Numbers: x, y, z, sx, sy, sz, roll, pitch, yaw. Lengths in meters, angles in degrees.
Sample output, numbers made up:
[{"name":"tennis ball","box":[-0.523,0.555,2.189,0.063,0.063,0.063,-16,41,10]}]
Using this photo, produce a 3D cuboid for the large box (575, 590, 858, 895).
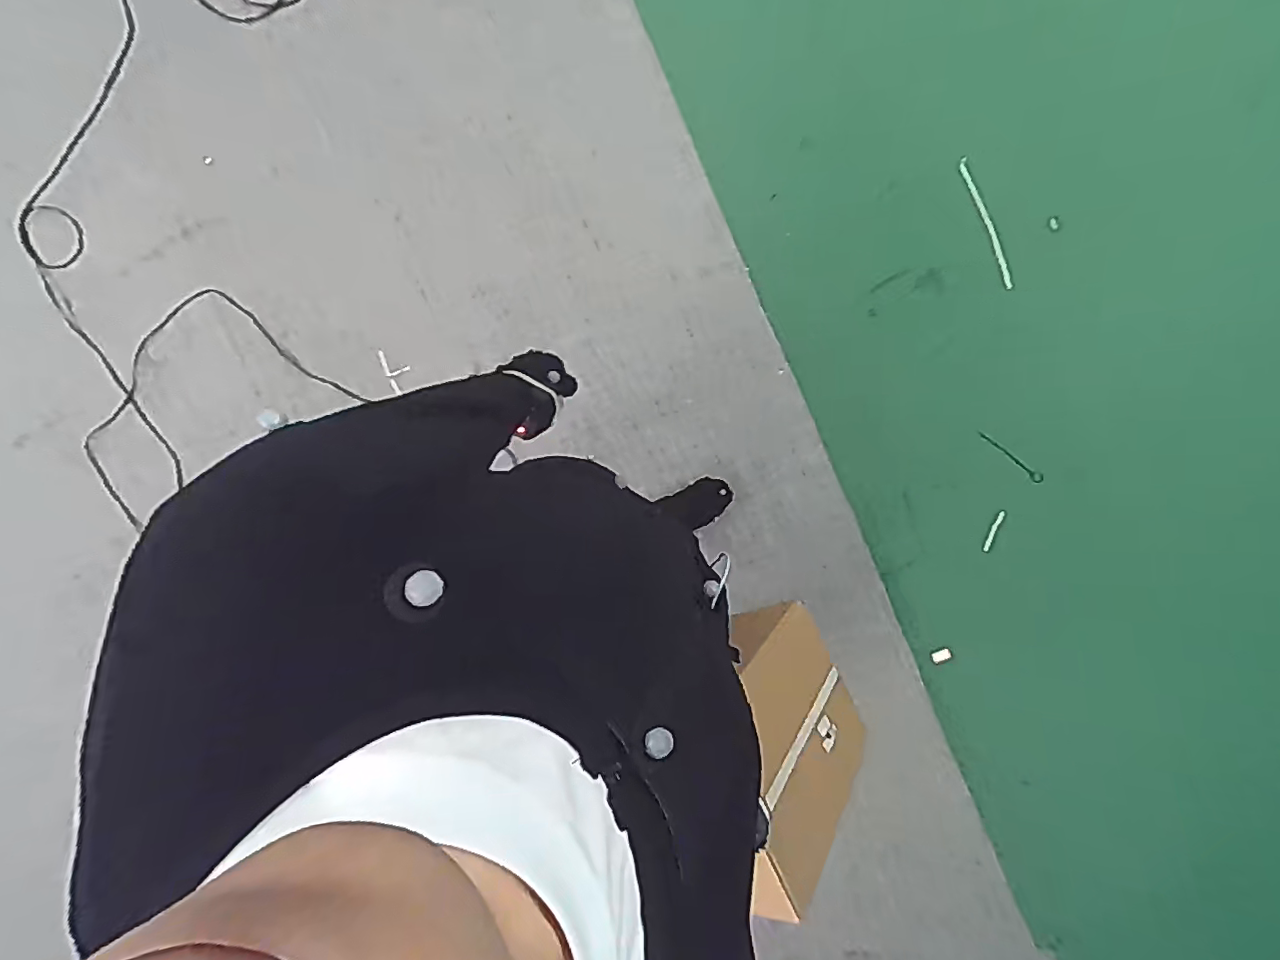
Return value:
[{"name":"large box","box":[0.157,0.462,1.017,0.320,0.408,0.320,-25,90,38]}]
